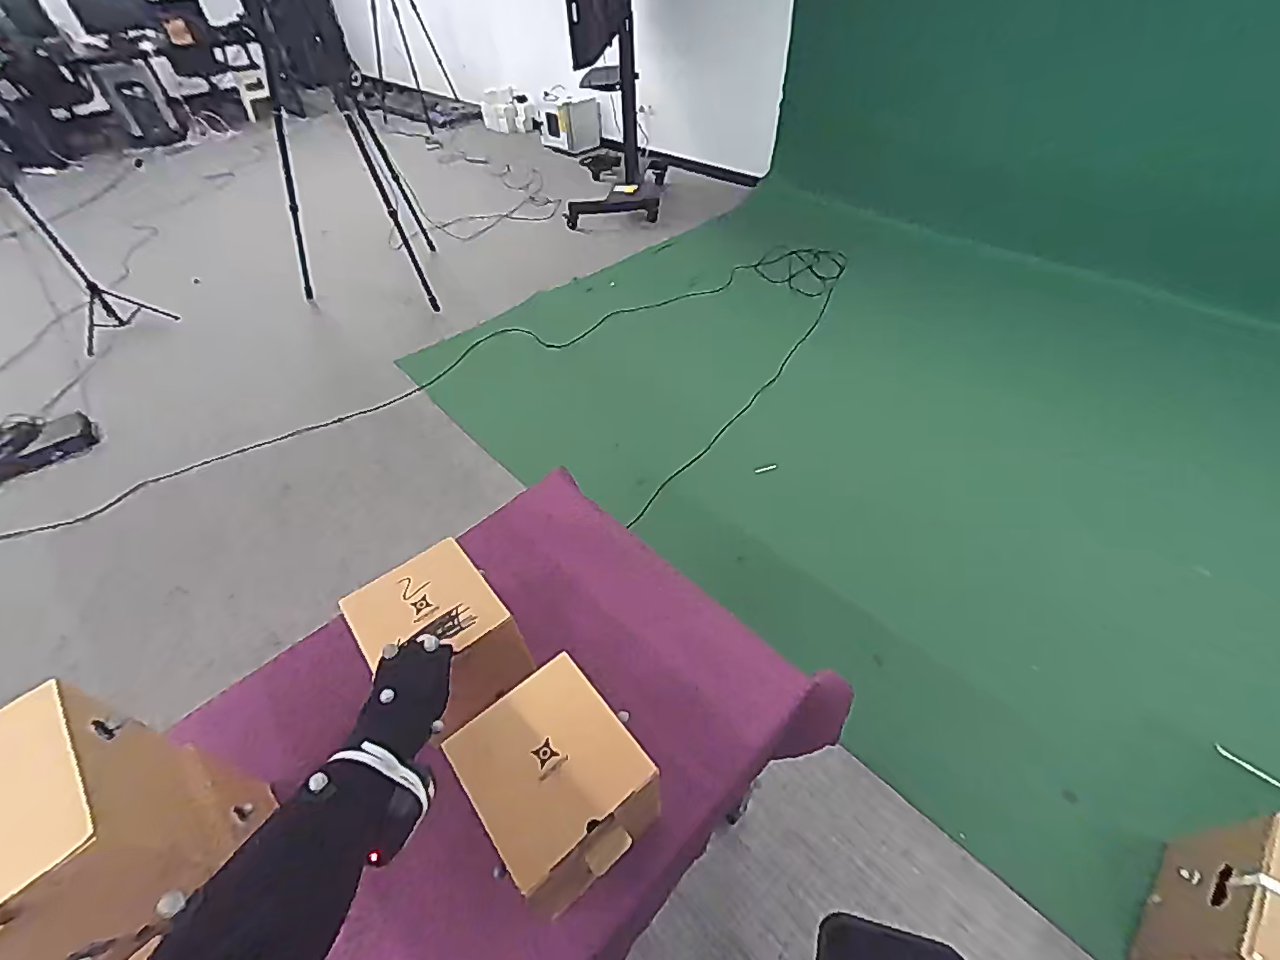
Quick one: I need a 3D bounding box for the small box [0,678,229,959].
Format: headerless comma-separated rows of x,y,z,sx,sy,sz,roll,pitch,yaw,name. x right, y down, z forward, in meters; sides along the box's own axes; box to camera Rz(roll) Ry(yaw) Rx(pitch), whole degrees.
-0.502,0.314,0.458,0.179,0.176,0.168,35,57,31,small box

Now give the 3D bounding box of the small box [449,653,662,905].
-0.091,0.347,0.628,0.168,0.176,0.179,-32,53,-24,small box
